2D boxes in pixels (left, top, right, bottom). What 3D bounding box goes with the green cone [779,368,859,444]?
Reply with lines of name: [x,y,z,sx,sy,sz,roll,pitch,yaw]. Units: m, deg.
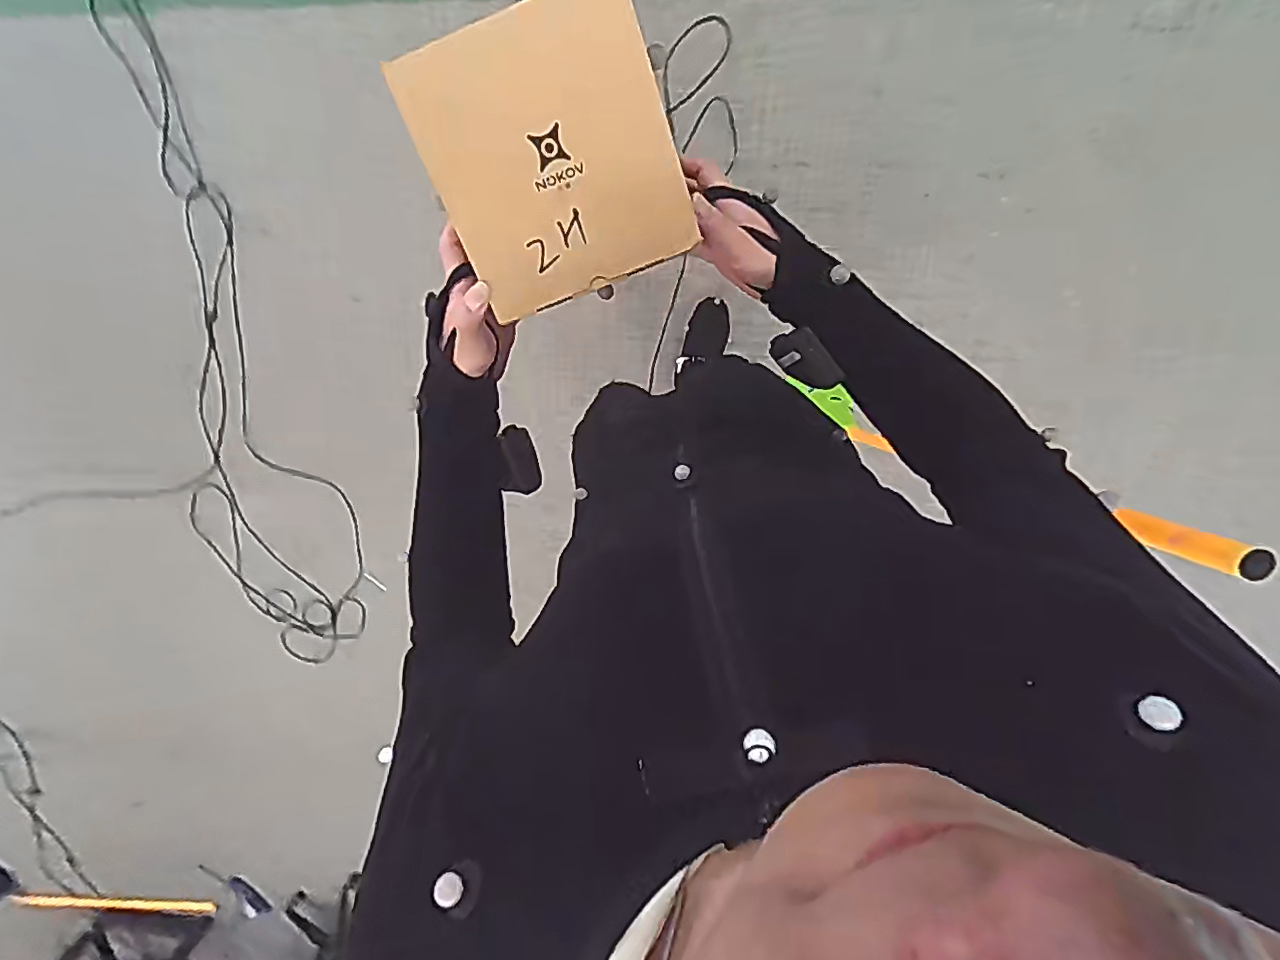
green cone: [0.486,-0.159,1.380,0.202,0.368,0.200,5,109,6]

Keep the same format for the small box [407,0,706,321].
small box: [-0.057,-0.252,0.454,0.168,0.176,0.179,-18,113,5]
